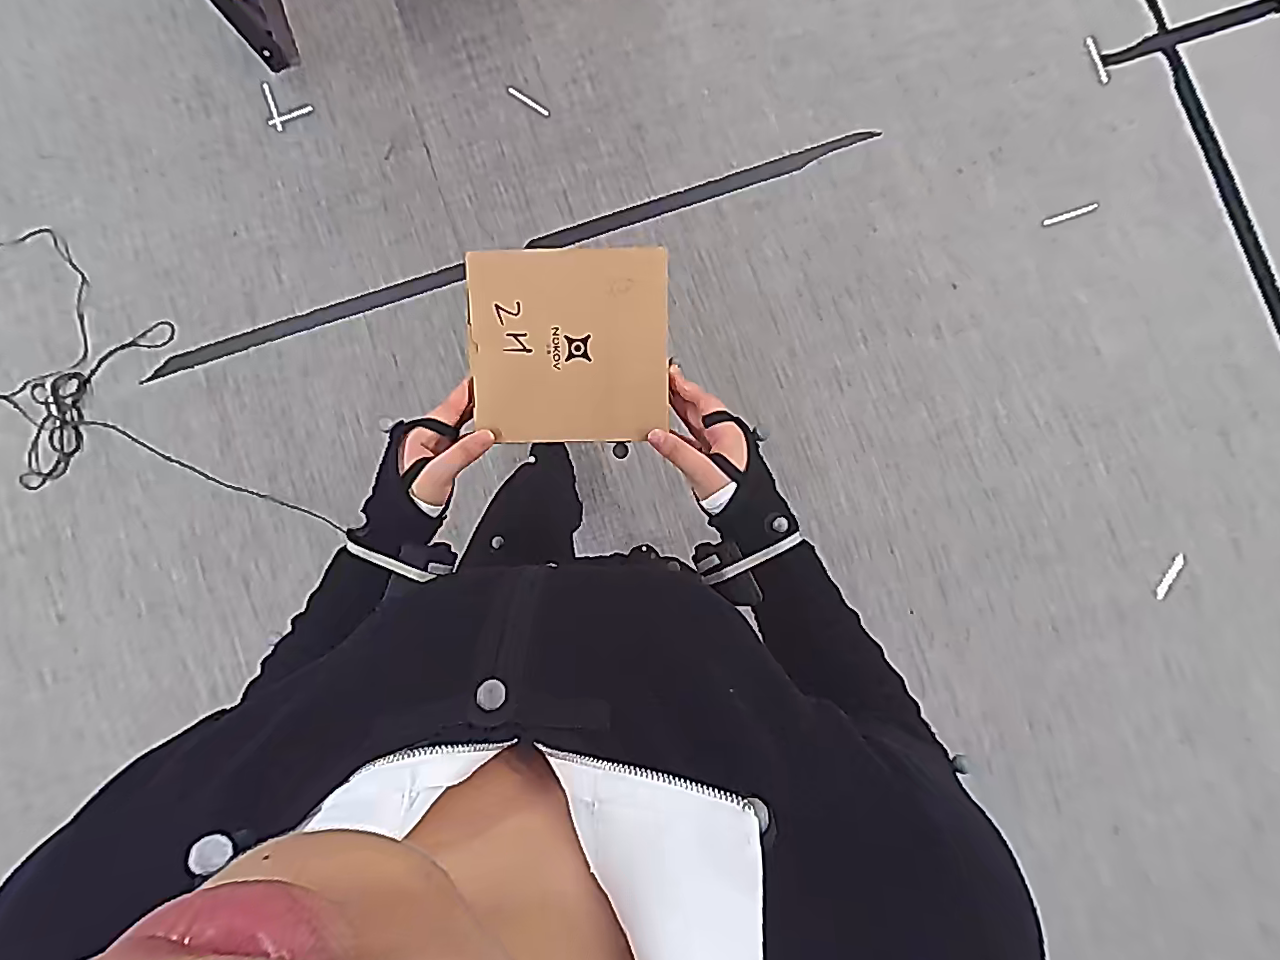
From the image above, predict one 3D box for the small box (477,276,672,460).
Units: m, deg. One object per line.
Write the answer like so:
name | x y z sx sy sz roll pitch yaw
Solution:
small box | -0.058 -0.109 0.567 0.179 0.176 0.168 0 96 2
